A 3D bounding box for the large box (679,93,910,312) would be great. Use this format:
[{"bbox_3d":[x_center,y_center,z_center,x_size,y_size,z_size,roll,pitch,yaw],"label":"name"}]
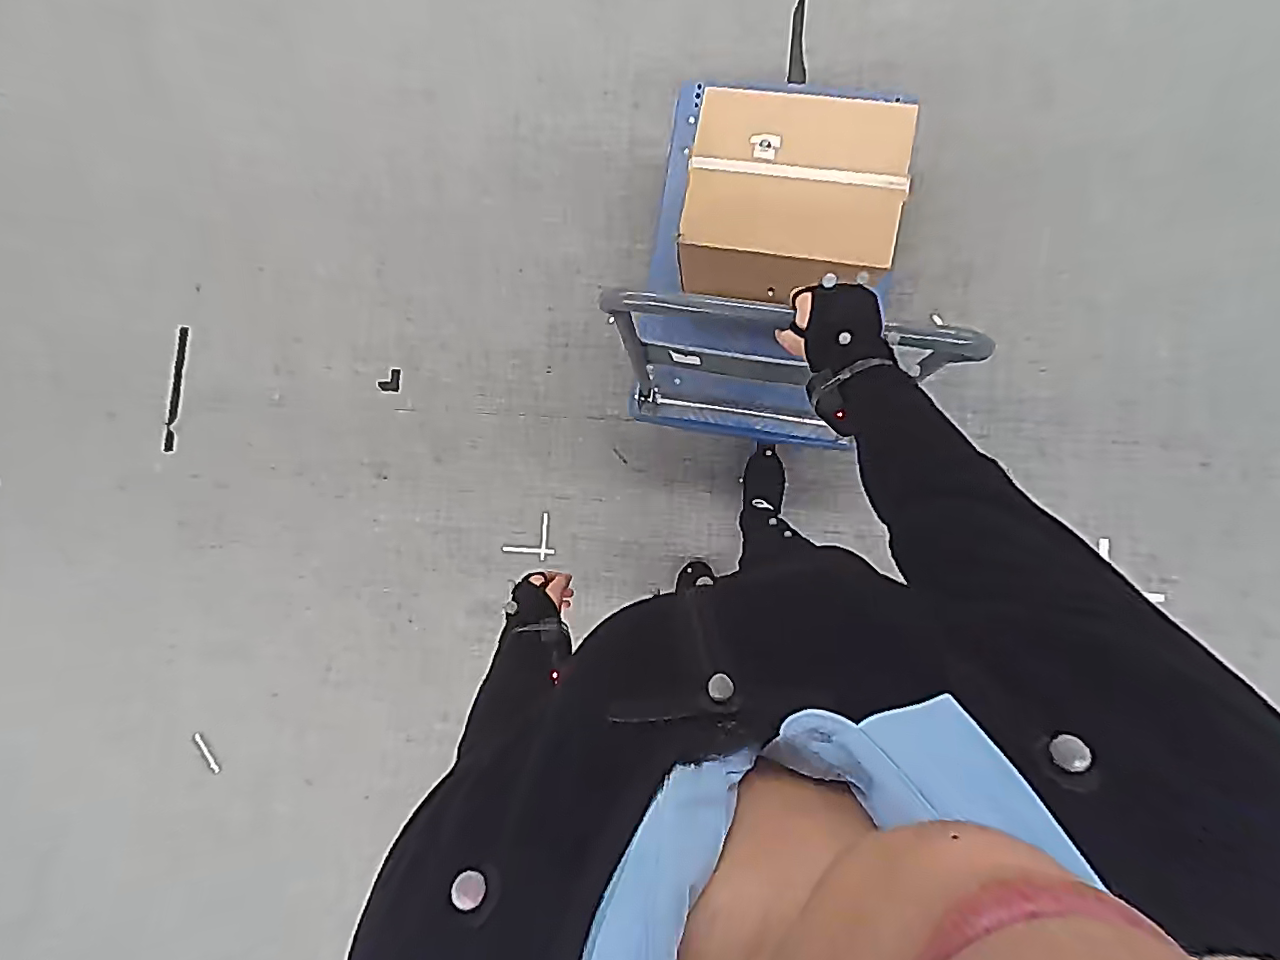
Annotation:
[{"bbox_3d":[0.317,-0.584,1.189,0.408,0.320,0.320,10,89,8],"label":"large box"}]
